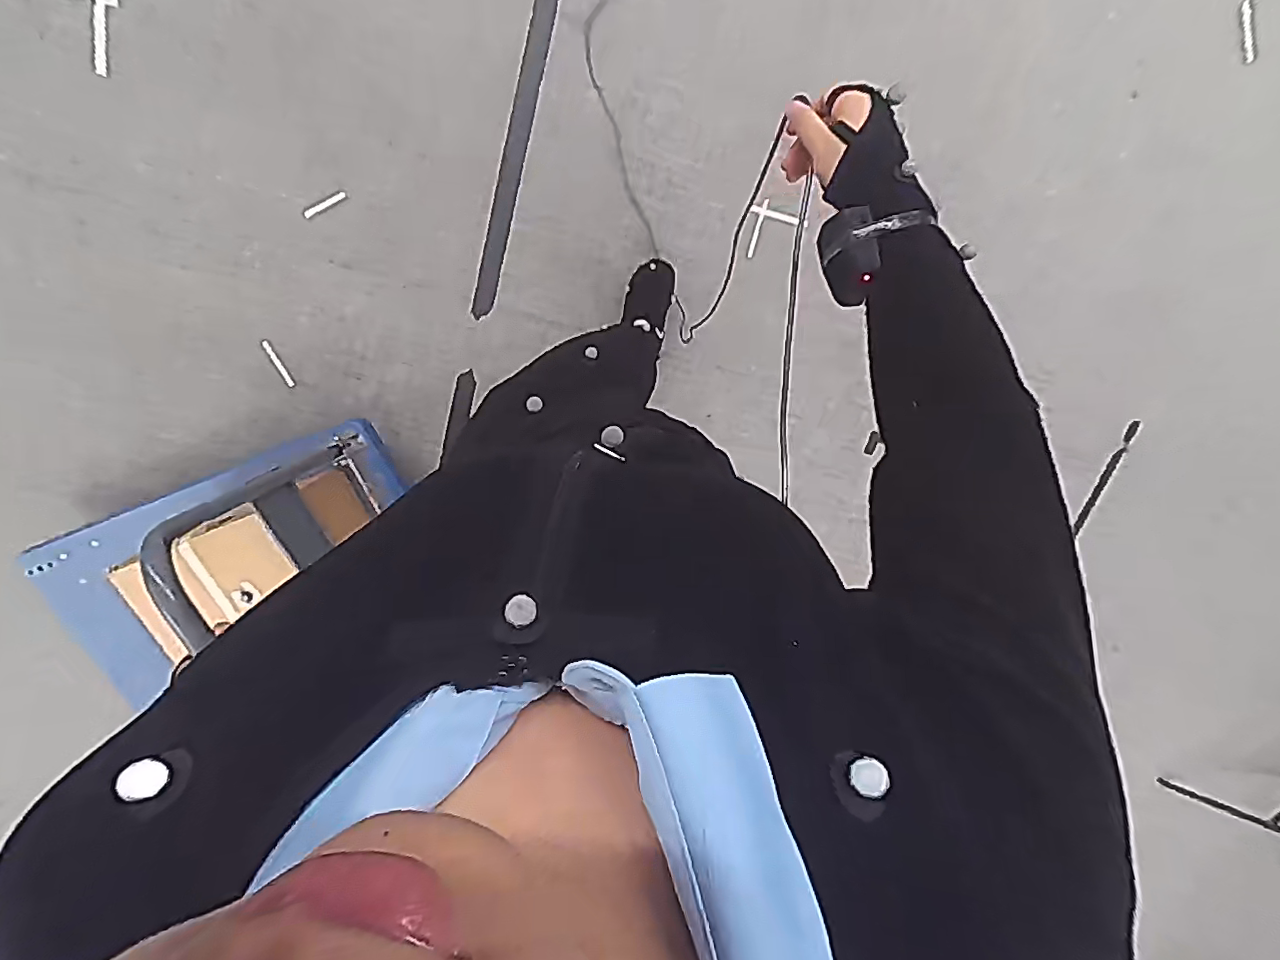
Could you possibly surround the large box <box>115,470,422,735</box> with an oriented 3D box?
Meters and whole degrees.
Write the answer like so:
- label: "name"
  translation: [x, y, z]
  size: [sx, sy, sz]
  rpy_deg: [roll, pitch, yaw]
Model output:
- label: "large box"
  translation: [-0.741, 0.243, 1.162]
  size: [0.320, 0.320, 0.408]
  rpy_deg: [-22, 106, 0]
